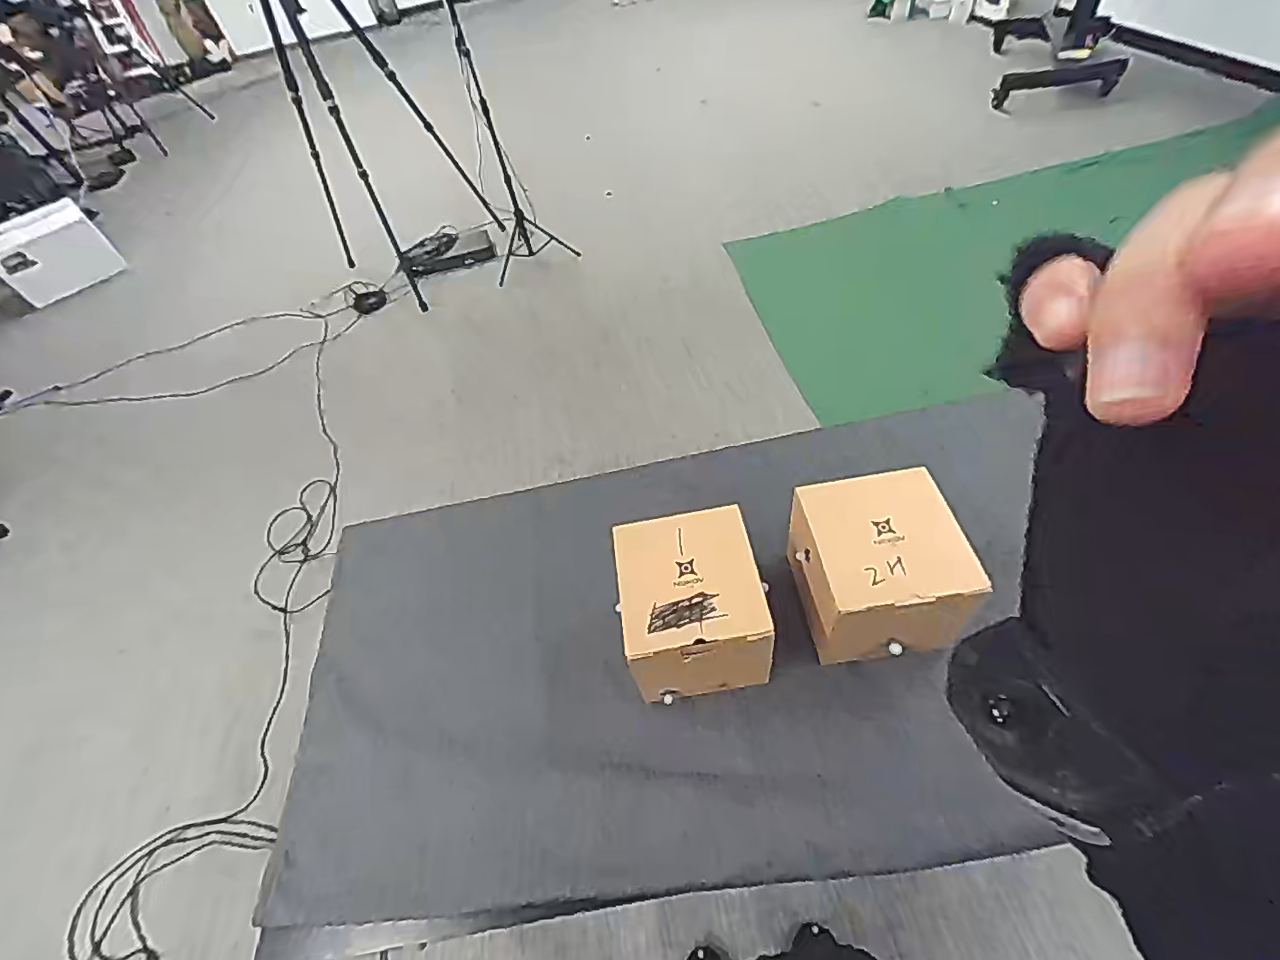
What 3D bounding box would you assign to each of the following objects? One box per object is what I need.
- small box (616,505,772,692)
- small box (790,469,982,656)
[{"bbox_3d":[0.069,0.161,0.700,0.168,0.176,0.179,-10,51,3],"label":"small box"},{"bbox_3d":[0.296,0.111,0.699,0.168,0.176,0.179,-8,55,6],"label":"small box"}]
